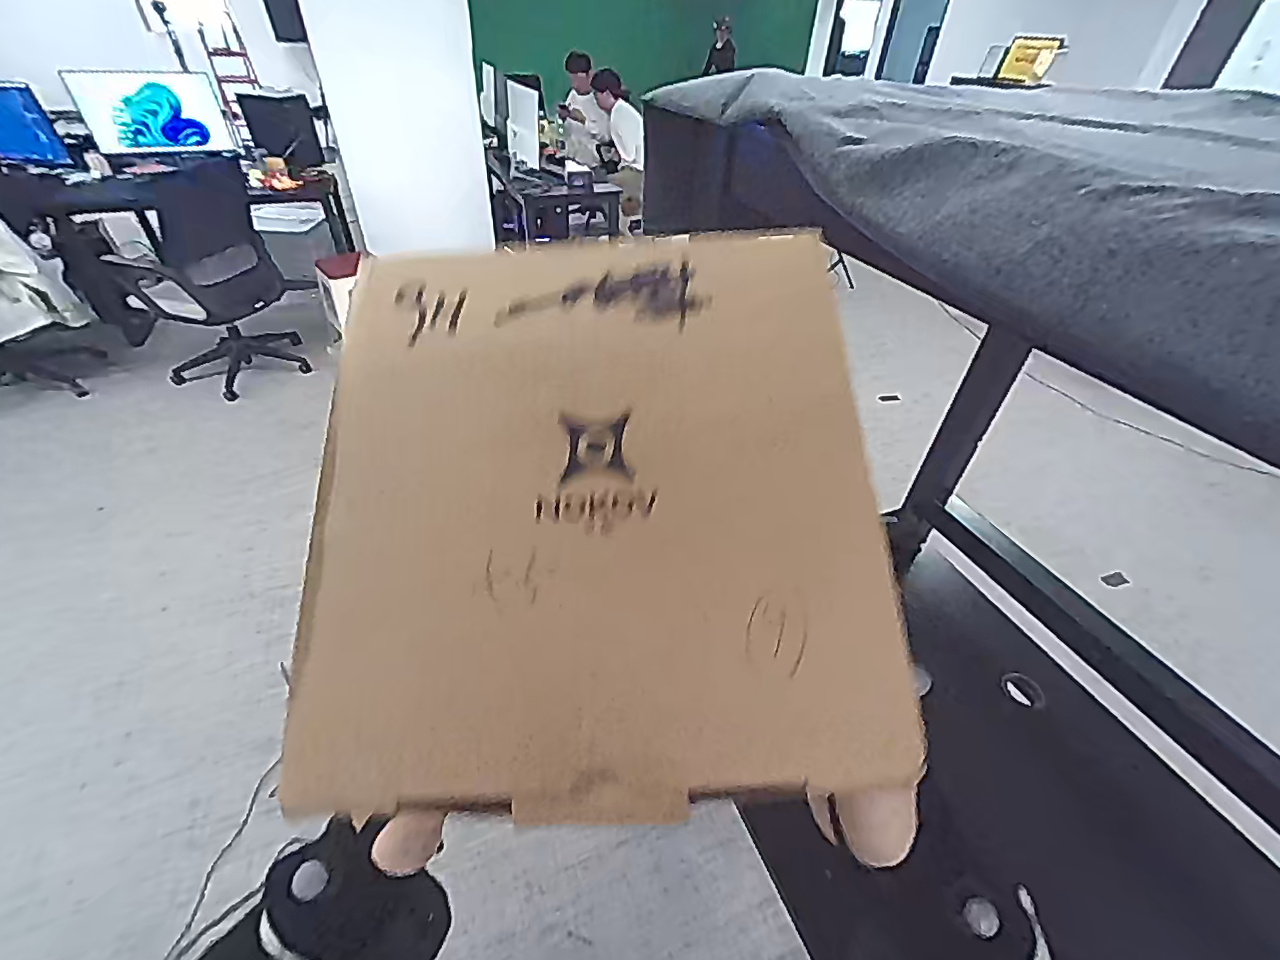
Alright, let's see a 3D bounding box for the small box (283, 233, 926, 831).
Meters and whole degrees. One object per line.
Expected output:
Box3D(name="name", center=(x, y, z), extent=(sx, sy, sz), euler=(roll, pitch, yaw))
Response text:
Box3D(name="small box", center=(-0.012, 0.025, 0.236), extent=(0.168, 0.176, 0.179), euler=(-3, 72, -2))
